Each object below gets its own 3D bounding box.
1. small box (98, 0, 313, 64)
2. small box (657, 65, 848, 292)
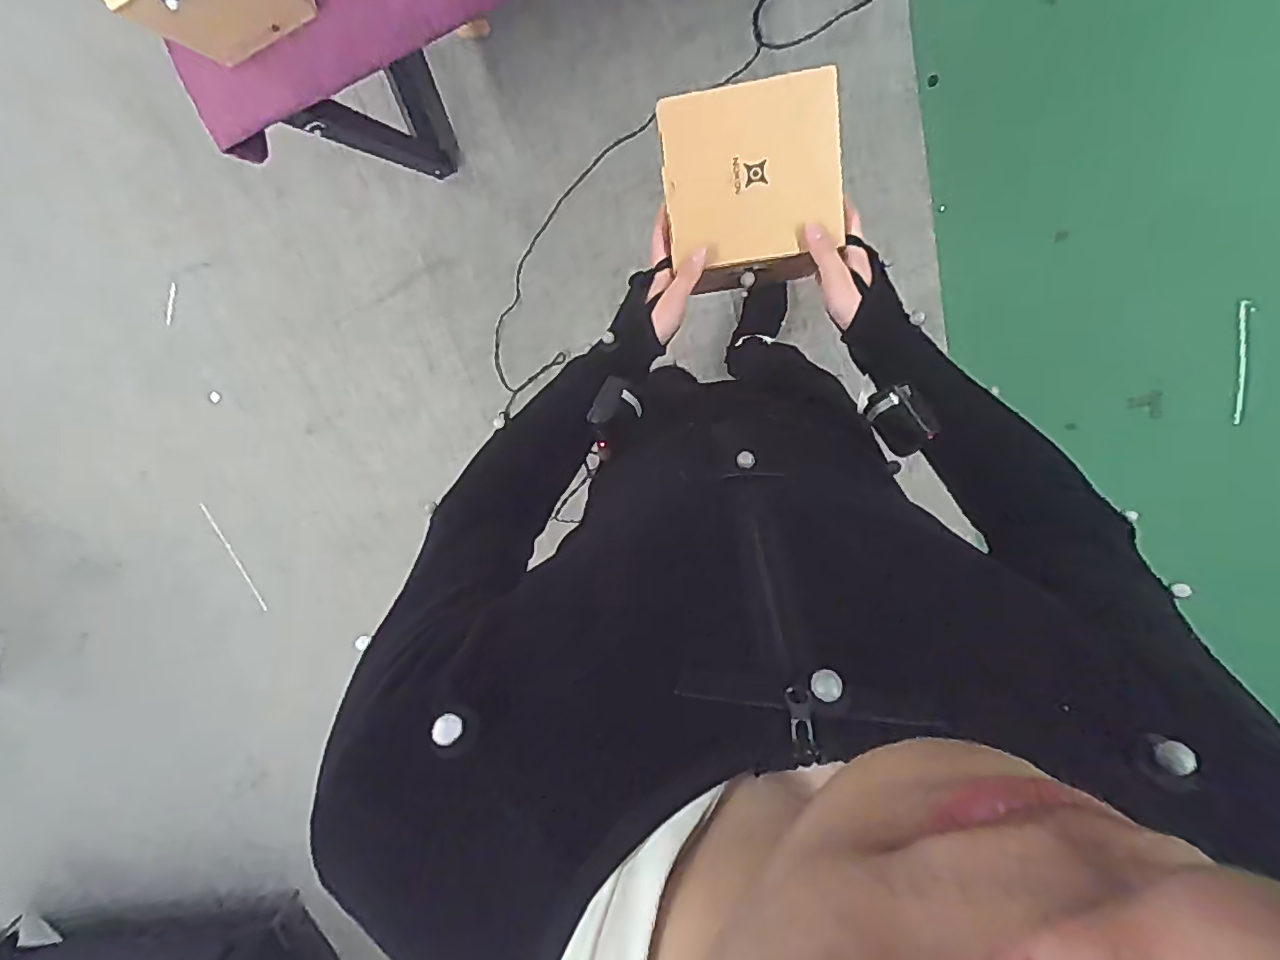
[{"bbox_3d":[-0.550,-0.659,0.651,0.168,0.176,0.179,-16,106,14],"label":"small box"},{"bbox_3d":[0.121,-0.317,0.609,0.179,0.176,0.168,-6,101,9],"label":"small box"}]
